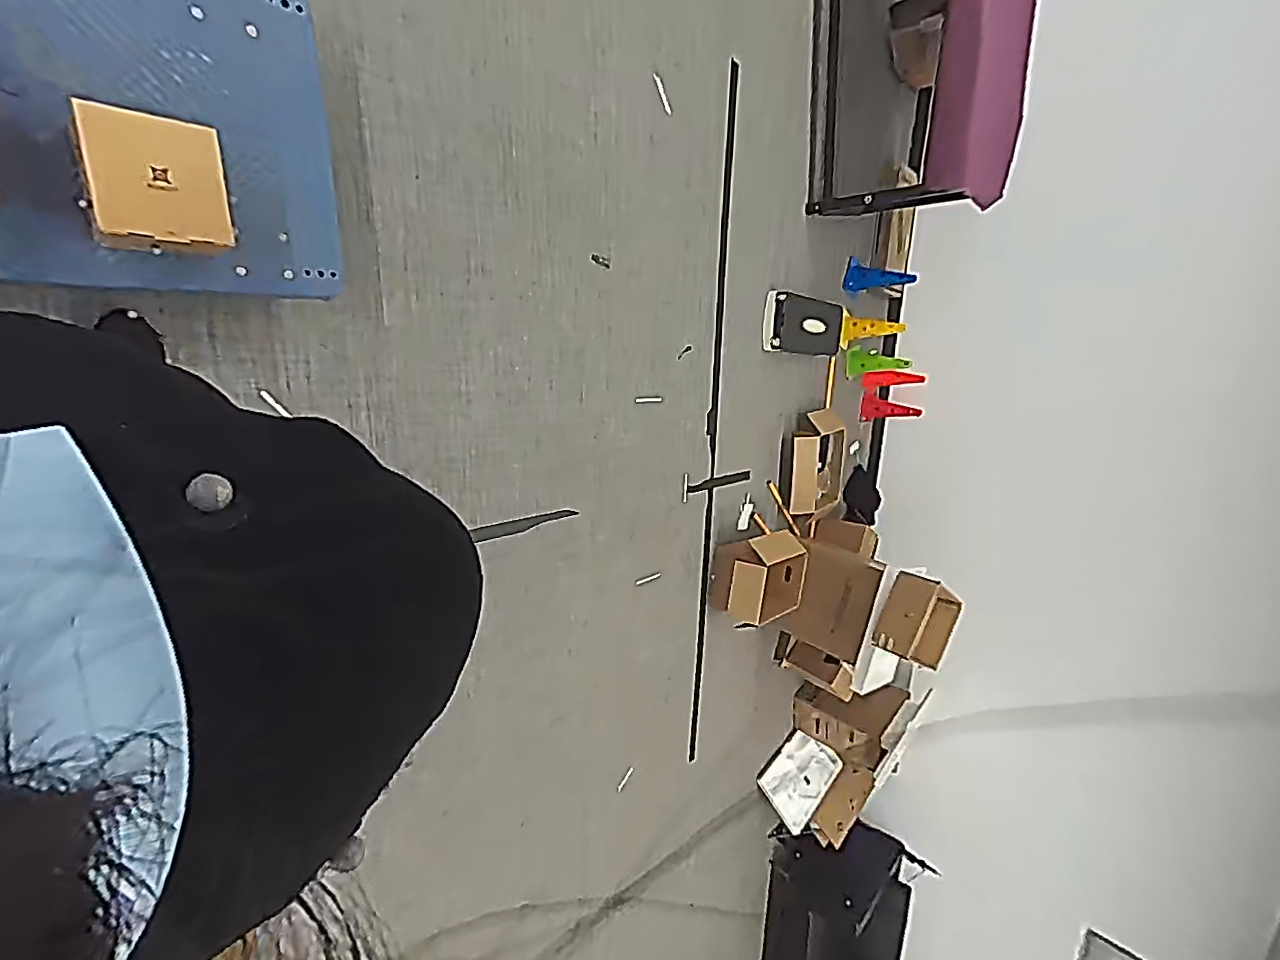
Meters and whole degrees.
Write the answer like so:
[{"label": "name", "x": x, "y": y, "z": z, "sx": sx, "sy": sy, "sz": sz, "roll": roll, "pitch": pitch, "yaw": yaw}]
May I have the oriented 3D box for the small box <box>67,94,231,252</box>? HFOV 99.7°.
[{"label": "small box", "x": -0.793, "y": -0.479, "z": 0.875, "sx": 0.168, "sy": 0.176, "sz": 0.179, "roll": -14, "pitch": 111, "yaw": -44}]
